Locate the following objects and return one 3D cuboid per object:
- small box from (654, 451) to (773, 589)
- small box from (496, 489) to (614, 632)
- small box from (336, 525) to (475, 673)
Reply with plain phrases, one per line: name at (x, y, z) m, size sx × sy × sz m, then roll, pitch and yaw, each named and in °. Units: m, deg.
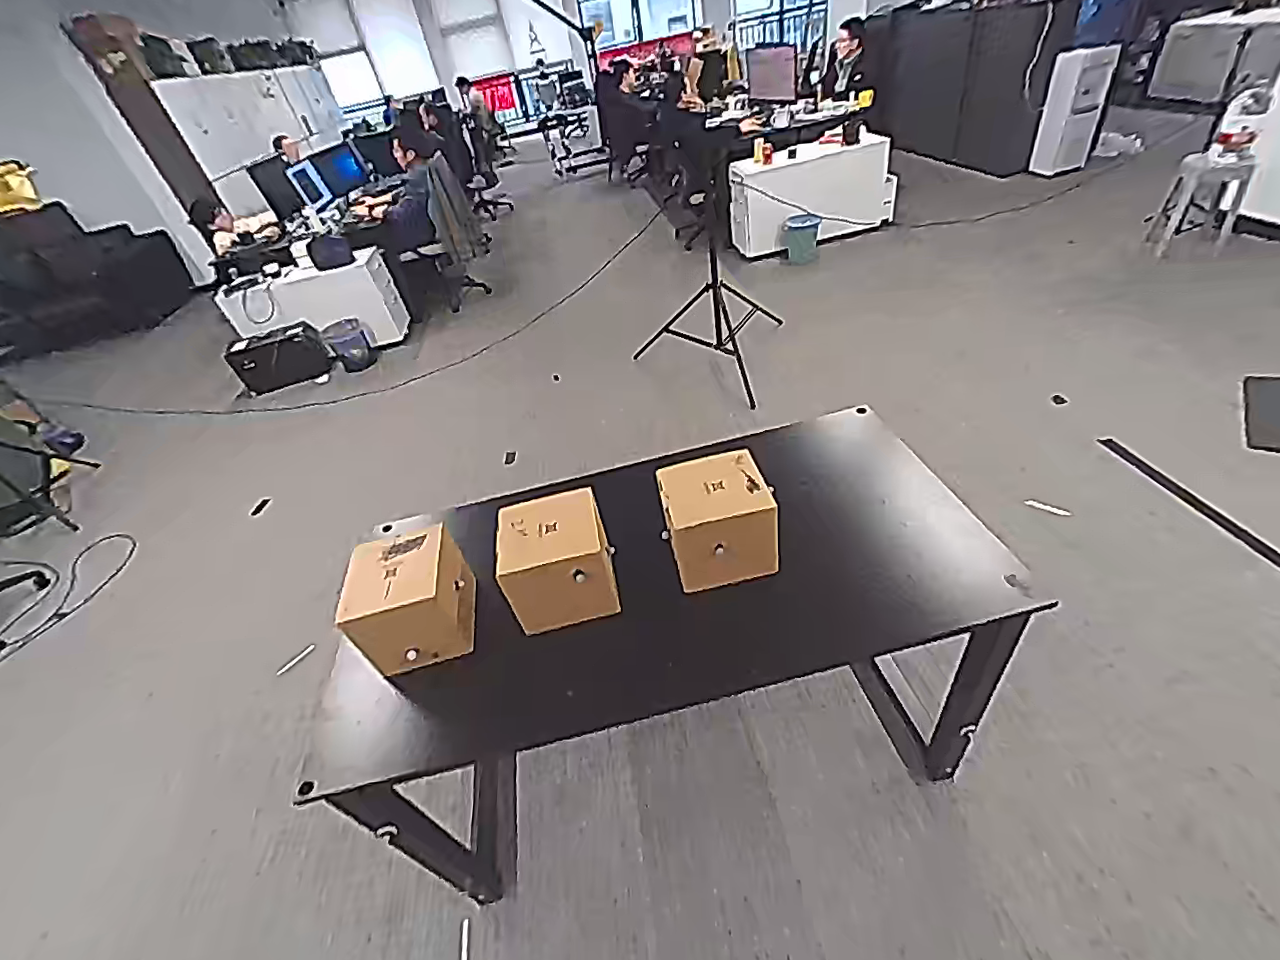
small box at (0.136, 0.077, 0.990) m, size 0.179 × 0.176 × 0.168 m, roll -14°, pitch 40°, yaw 1°
small box at (-0.149, 0.147, 0.981) m, size 0.179 × 0.176 × 0.168 m, roll -14°, pitch 39°, yaw -2°
small box at (-0.408, 0.214, 0.974) m, size 0.168 × 0.176 × 0.179 m, roll -15°, pitch 41°, yaw -3°
